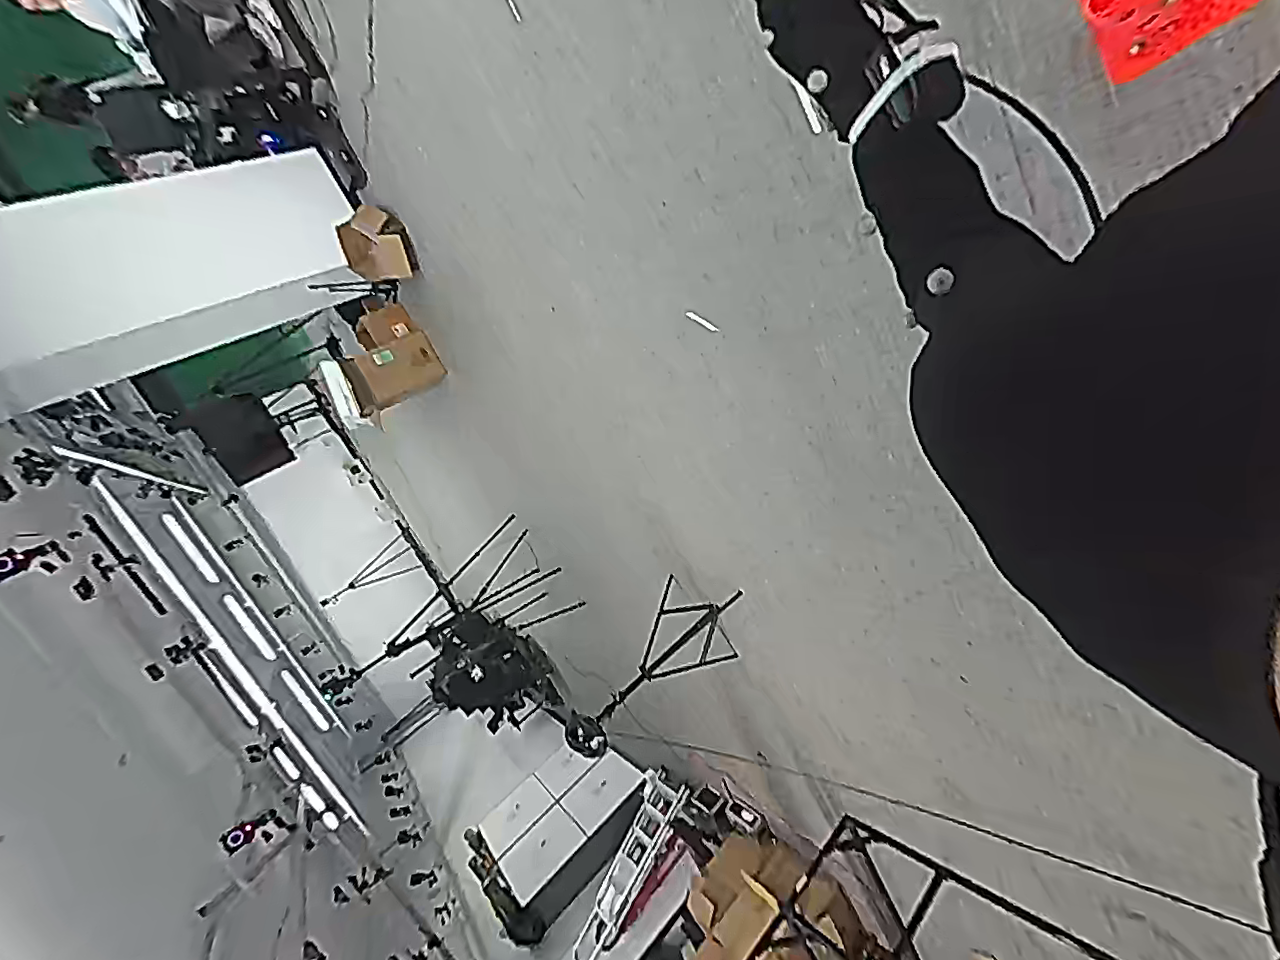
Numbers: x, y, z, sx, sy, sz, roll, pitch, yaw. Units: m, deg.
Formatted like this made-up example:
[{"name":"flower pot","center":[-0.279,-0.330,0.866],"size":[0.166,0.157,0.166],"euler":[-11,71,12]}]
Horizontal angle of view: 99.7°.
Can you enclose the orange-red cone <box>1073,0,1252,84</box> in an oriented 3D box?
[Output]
[{"name":"orange-red cone","center":[0.727,-0.717,0.800],"size":[0.199,0.360,0.198],"euler":[-15,108,59]}]
